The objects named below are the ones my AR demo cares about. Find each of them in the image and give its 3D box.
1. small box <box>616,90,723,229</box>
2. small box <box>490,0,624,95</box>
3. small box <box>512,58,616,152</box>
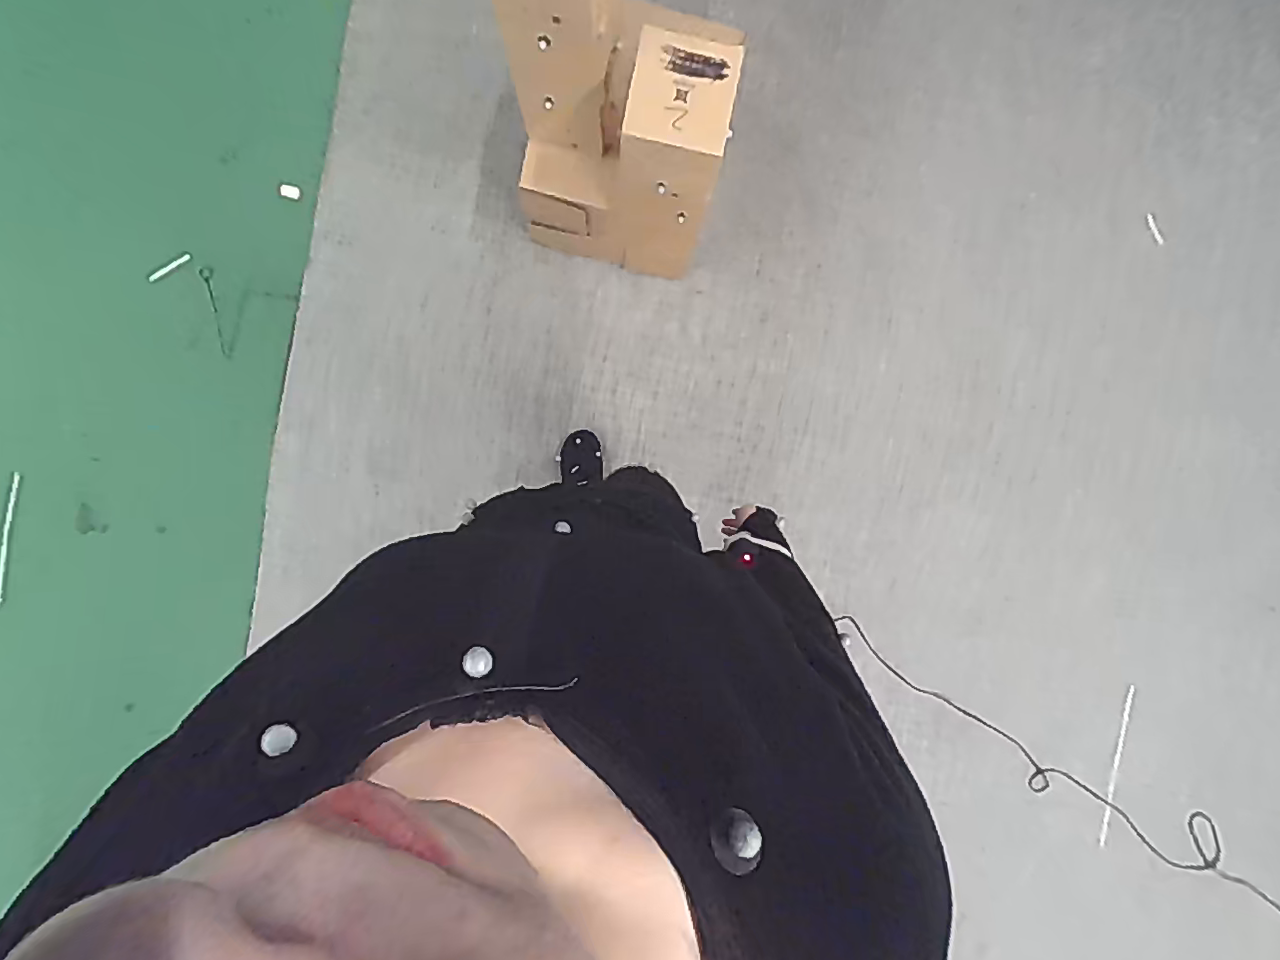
[{"bbox_3d":[0.052,-0.628,1.085,0.179,0.176,0.168,10,91,-3],"label":"small box"},{"bbox_3d":[-0.129,-0.790,0.904,0.179,0.176,0.168,11,91,0],"label":"small box"},{"bbox_3d":[-0.143,-0.799,1.071,0.168,0.176,0.179,12,90,-3],"label":"small box"}]
